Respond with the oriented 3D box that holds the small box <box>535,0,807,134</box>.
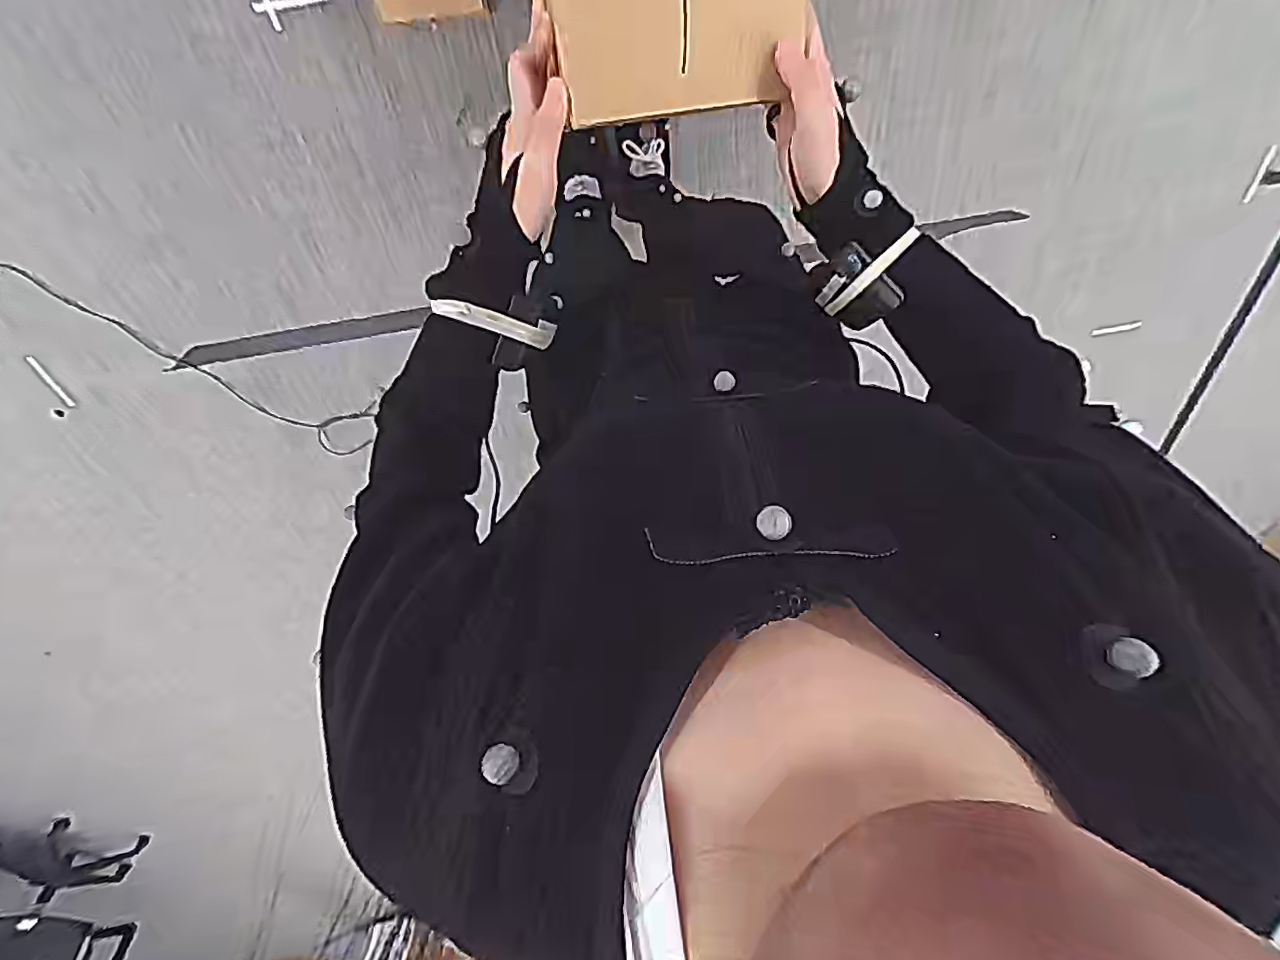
[{"bbox_3d":[0.009,-0.361,0.388,0.168,0.176,0.179,-11,124,-6],"label":"small box"}]
